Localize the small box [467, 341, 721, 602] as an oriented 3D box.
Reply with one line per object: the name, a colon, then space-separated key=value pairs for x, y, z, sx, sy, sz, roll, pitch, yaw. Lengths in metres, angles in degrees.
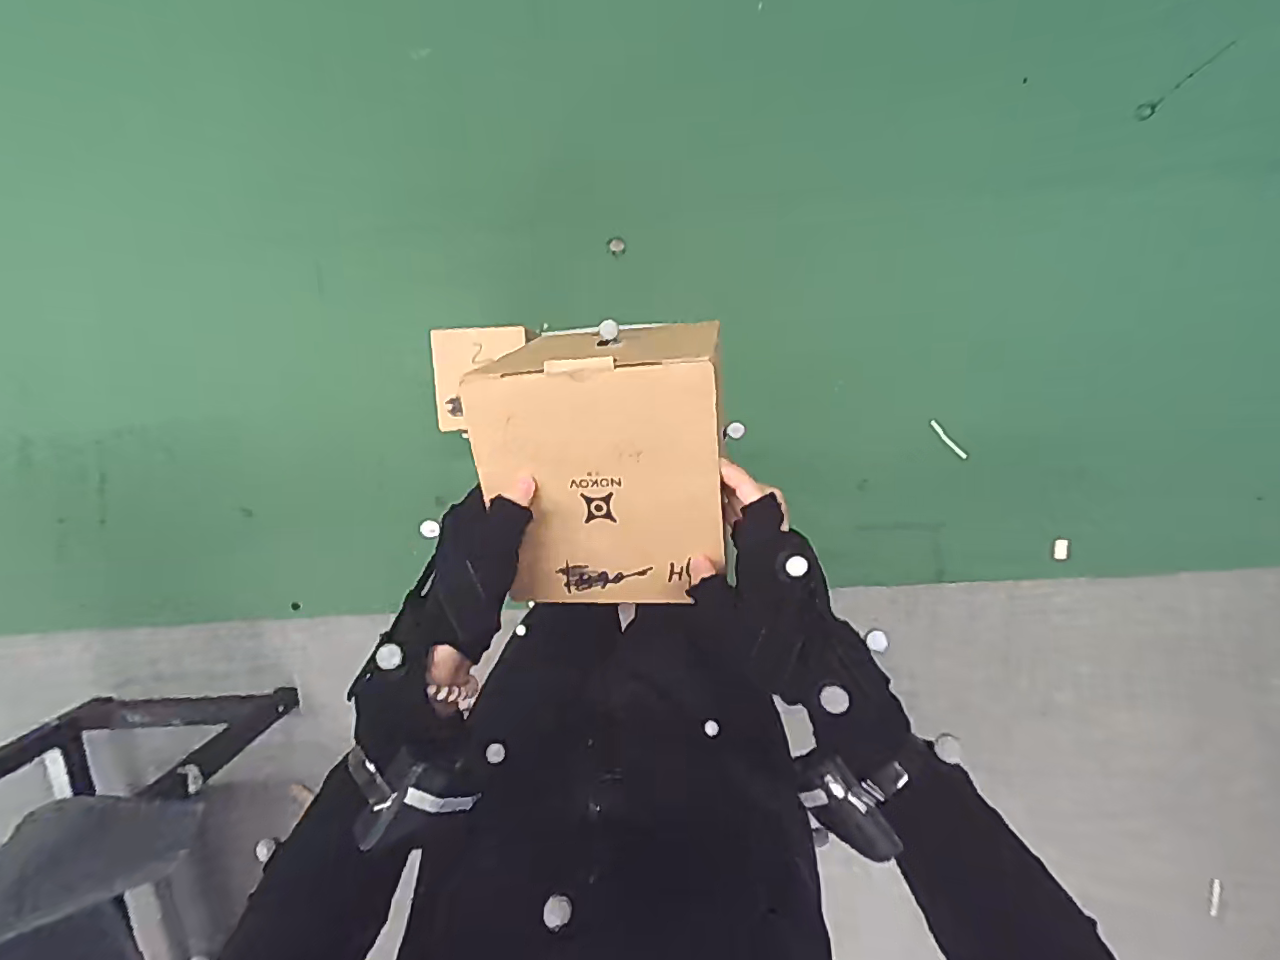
small box: x=-0.018 y=-0.018 z=0.451 sx=0.168 sy=0.176 sz=0.179 roll=-2 pitch=111 yaw=10

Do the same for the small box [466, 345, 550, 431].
small box: x=-0.268 y=-0.200 z=1.182 sx=0.168 sy=0.176 sz=0.179 roll=1 pitch=99 yaw=3
